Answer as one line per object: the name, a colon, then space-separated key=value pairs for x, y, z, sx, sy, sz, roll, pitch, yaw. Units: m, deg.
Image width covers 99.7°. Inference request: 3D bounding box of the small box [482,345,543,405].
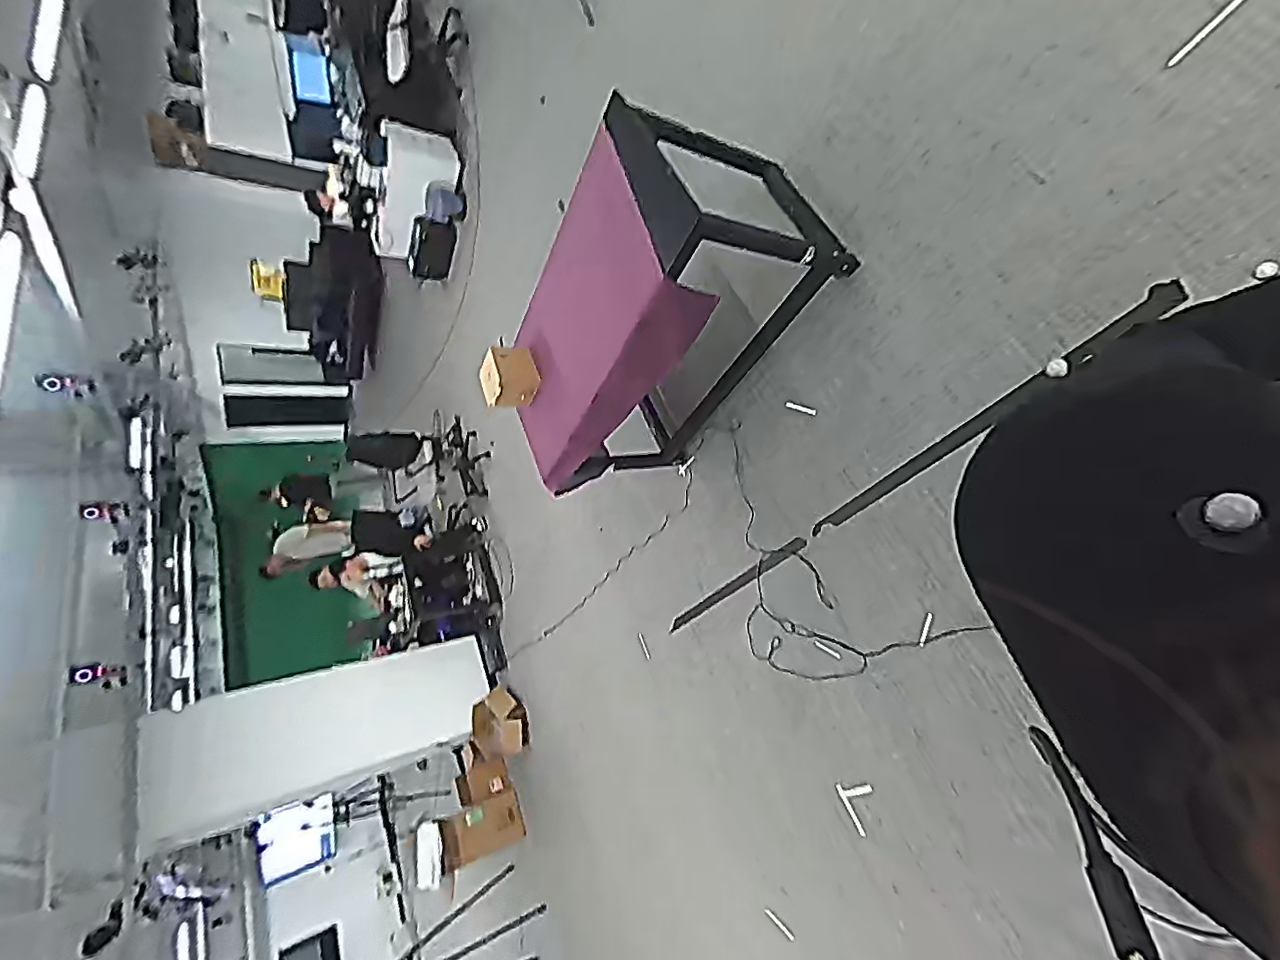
small box: x=-0.509 y=-0.412 z=2.156 sx=0.168 sy=0.176 sz=0.179 roll=-48 pitch=57 yaw=46
